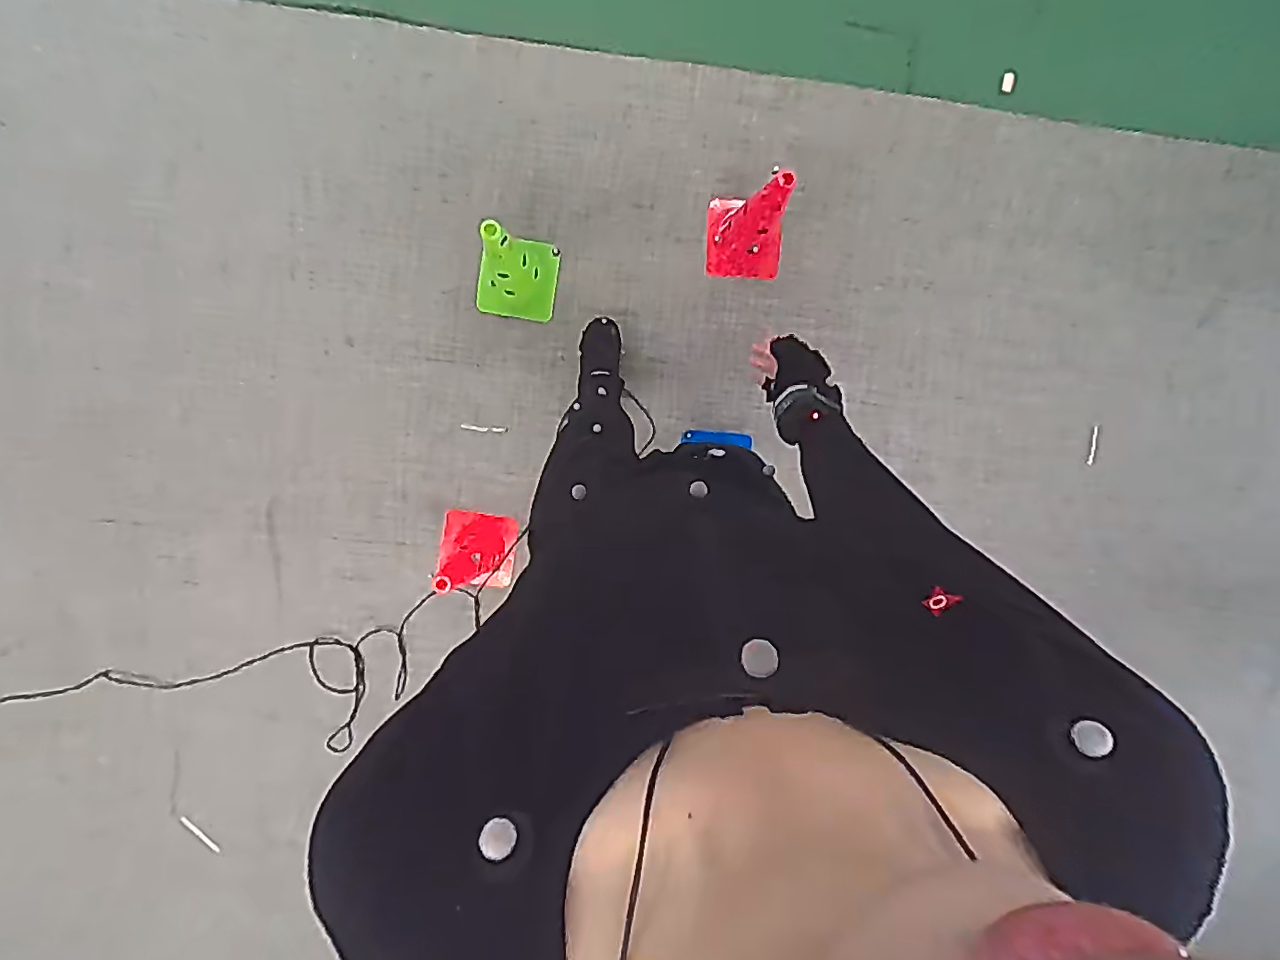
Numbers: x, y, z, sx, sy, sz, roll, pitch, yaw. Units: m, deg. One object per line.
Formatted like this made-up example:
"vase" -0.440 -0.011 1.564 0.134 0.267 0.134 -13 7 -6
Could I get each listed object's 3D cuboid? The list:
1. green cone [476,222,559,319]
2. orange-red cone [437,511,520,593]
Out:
"green cone" -0.312 -0.516 1.244 0.200 0.368 0.202 7 96 -4
"orange-red cone" -0.423 0.205 1.306 0.198 0.360 0.199 9 93 -5
